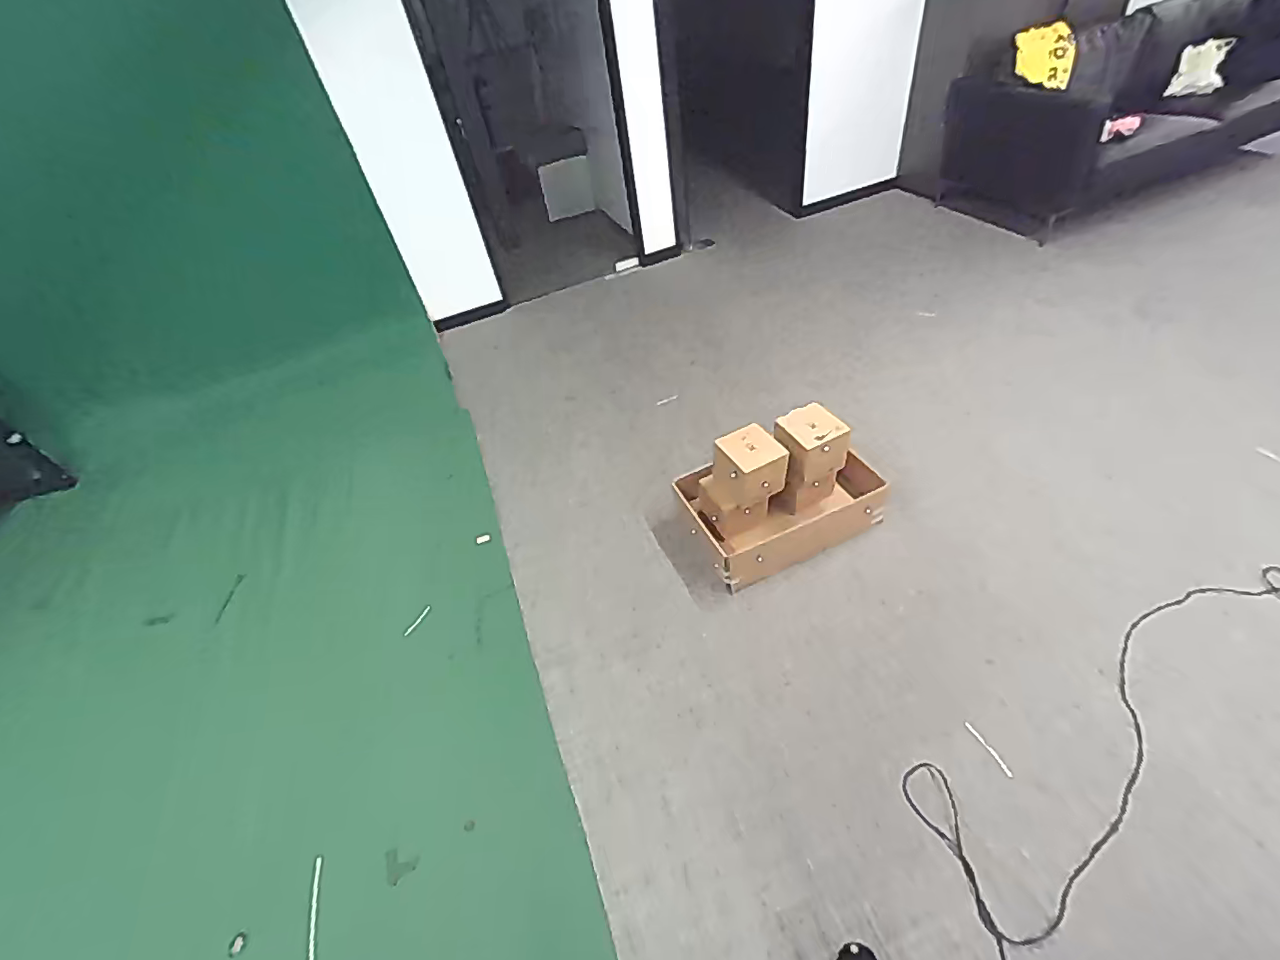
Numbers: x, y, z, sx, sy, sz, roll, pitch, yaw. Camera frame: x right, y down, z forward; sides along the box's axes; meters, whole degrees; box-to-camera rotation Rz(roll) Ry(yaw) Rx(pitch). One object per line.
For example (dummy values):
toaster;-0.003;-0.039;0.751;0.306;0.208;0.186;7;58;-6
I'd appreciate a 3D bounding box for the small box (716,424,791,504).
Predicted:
small box;0.361;-0.044;1.735;0.168;0.176;0.179;-25;47;-15

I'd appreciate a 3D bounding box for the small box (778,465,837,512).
small box;0.575;-0.018;1.893;0.179;0.176;0.168;-28;47;-15

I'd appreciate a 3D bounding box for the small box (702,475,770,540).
small box;0.332;0.077;1.852;0.179;0.176;0.168;-24;47;-14

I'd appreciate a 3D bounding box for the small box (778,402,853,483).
small box;0.565;-0.121;1.763;0.168;0.176;0.179;-26;46;-11
